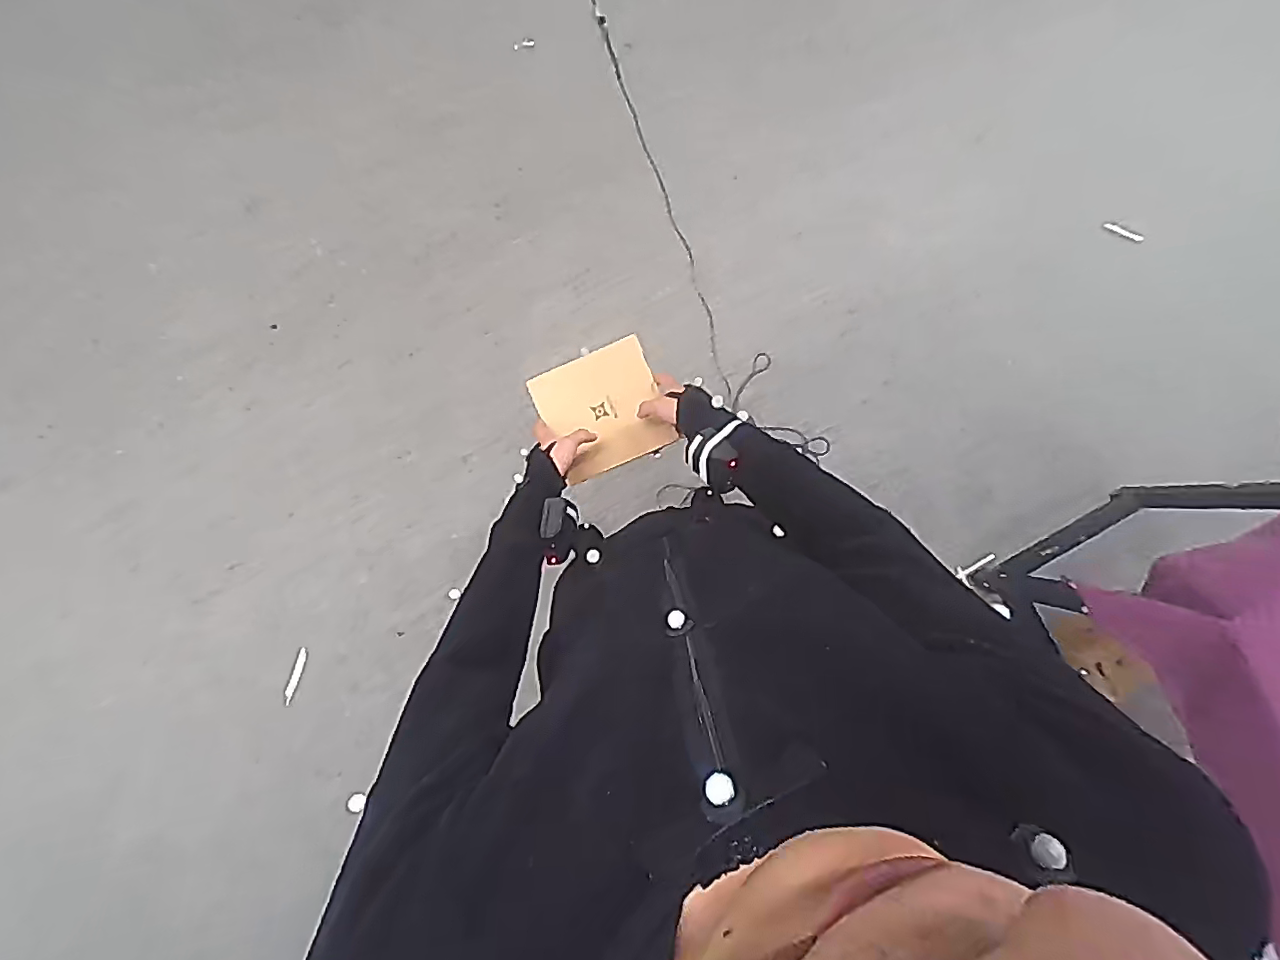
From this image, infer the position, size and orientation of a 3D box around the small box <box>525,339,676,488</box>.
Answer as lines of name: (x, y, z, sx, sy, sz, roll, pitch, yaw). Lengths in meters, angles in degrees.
small box: (-0.053, -0.099, 0.852, 0.179, 0.176, 0.168, -24, 93, 3)
